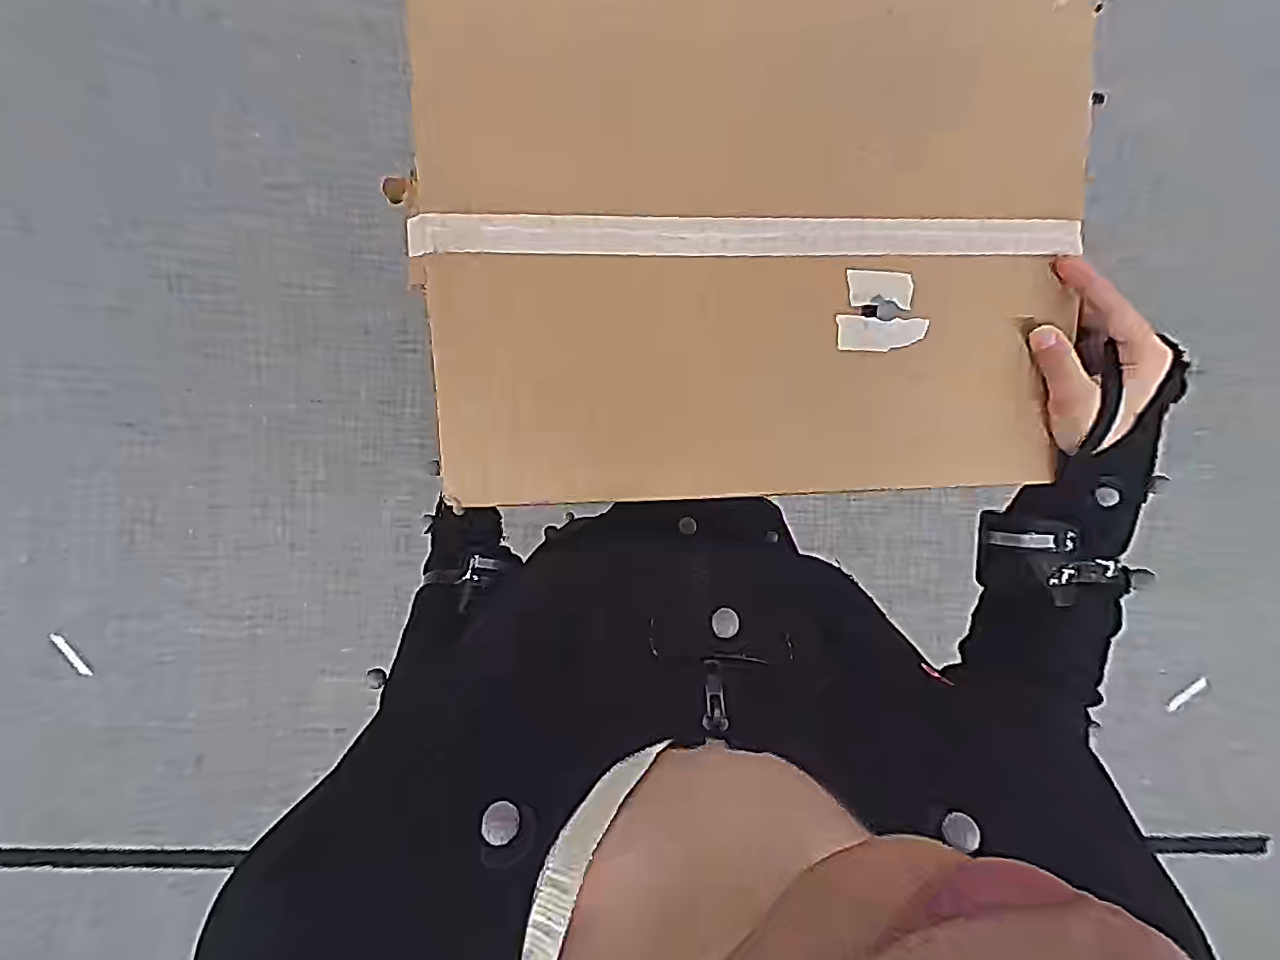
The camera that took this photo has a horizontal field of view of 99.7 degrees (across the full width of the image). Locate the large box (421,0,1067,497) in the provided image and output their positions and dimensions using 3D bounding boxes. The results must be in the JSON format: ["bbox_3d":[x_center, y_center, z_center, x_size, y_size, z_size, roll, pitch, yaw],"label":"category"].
[{"bbox_3d":[0.059,-0.170,0.483,0.408,0.320,0.320,-3,98,-7],"label":"large box"}]
